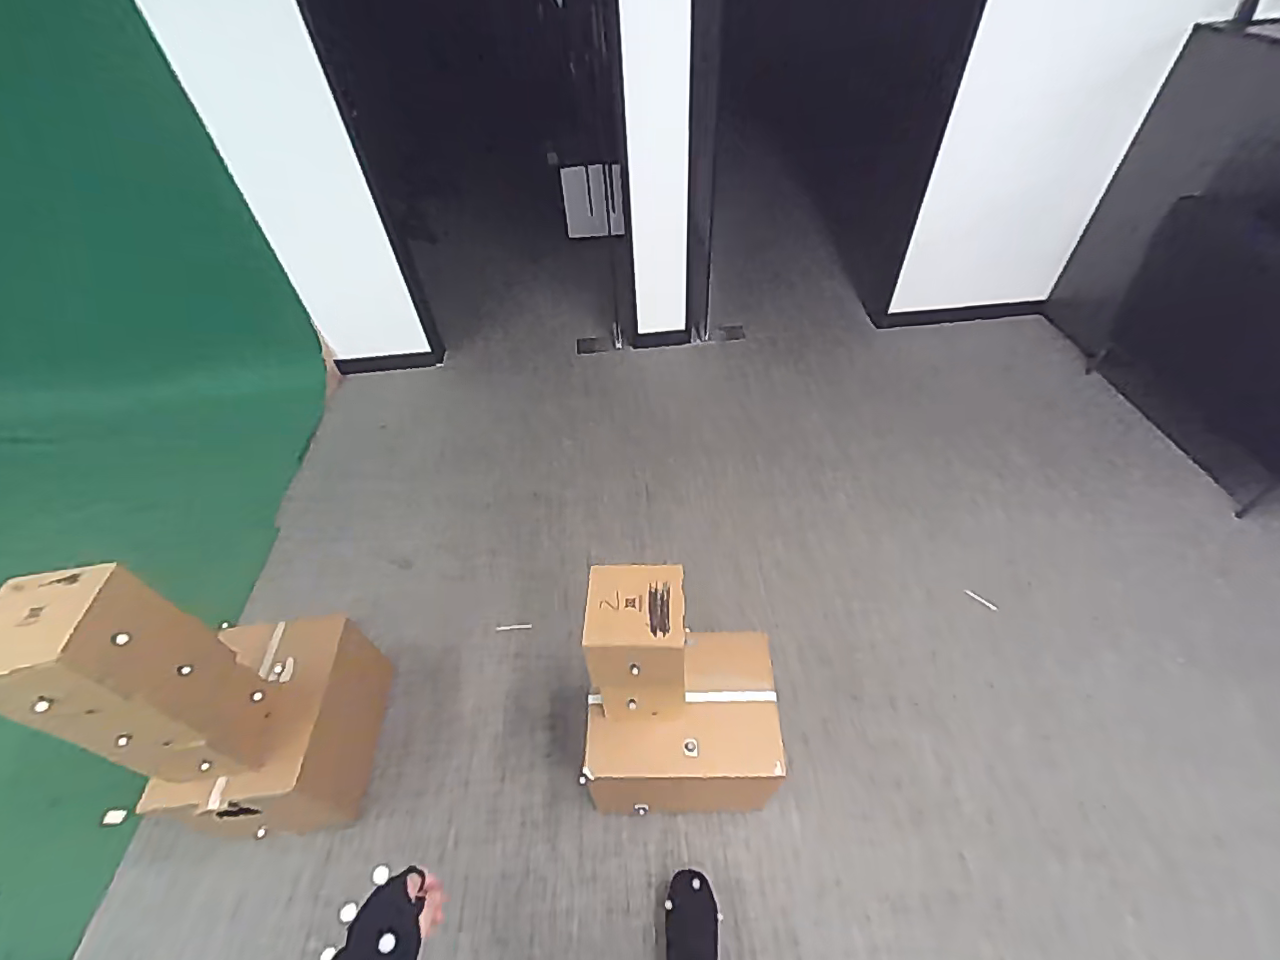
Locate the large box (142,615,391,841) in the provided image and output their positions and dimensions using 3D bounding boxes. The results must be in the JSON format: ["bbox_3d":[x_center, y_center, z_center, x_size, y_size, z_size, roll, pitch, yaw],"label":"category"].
[{"bbox_3d":[-0.857,0.600,1.321,0.320,0.320,0.408,-6,46,-2],"label":"large box"}]

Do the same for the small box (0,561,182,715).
[{"bbox_3d":[-0.891,0.257,0.860,0.168,0.176,0.179,-8,47,-4],"label":"small box"}]

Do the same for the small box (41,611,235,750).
[{"bbox_3d":[-0.886,0.369,0.981,0.168,0.176,0.179,-9,46,-6],"label":"small box"}]

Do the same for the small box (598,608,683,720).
[{"bbox_3d":[0.008,0.389,1.135,0.168,0.176,0.179,-1,45,2],"label":"small box"}]

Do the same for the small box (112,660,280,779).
[{"bbox_3d":[-0.878,0.486,1.096,0.179,0.176,0.168,-7,46,-2],"label":"small box"}]
